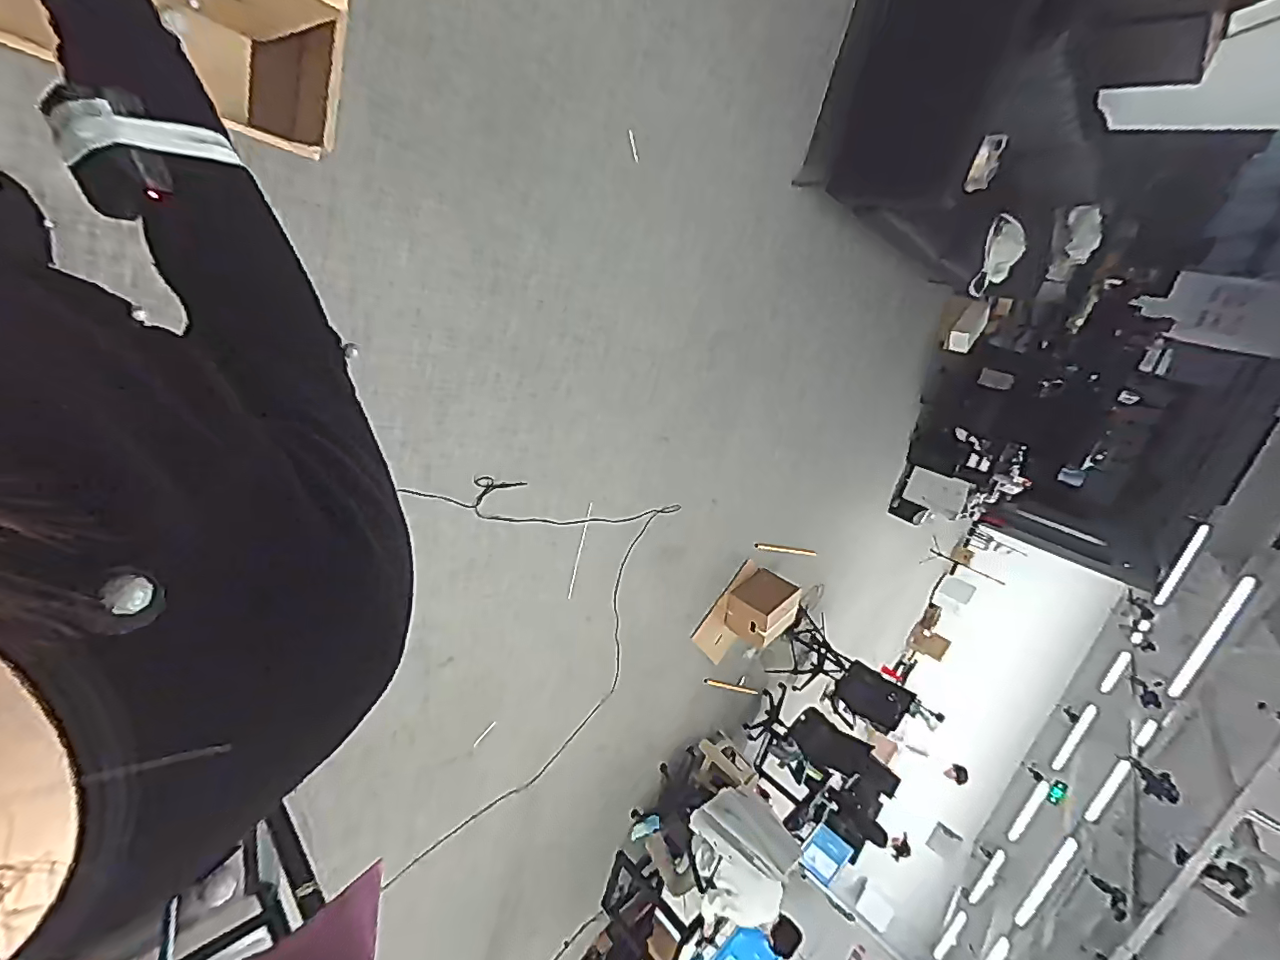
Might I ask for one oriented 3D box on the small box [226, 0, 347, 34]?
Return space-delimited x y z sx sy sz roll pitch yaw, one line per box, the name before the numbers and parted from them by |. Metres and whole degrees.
small box | -0.375 -0.557 0.498 0.168 0.176 0.179 -1 113 -49
